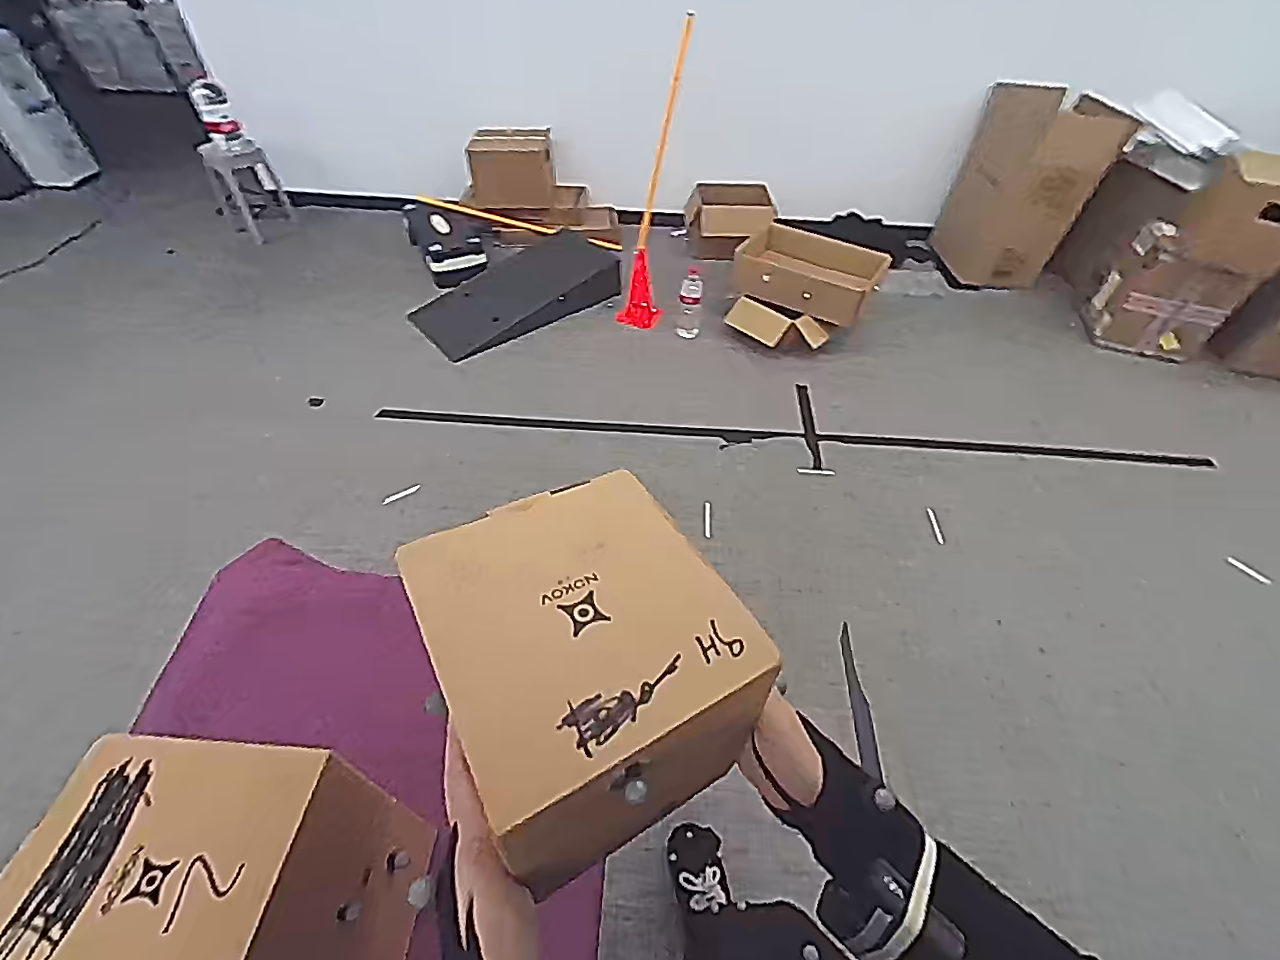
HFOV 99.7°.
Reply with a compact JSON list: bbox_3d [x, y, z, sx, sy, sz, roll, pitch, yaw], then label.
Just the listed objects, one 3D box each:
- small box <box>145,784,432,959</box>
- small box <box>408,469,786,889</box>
[{"bbox_3d":[-0.322,0.419,0.528,0.168,0.176,0.179,2,49,1],"label":"small box"},{"bbox_3d":[-0.037,0.127,0.366,0.168,0.176,0.179,-20,48,-23],"label":"small box"}]
